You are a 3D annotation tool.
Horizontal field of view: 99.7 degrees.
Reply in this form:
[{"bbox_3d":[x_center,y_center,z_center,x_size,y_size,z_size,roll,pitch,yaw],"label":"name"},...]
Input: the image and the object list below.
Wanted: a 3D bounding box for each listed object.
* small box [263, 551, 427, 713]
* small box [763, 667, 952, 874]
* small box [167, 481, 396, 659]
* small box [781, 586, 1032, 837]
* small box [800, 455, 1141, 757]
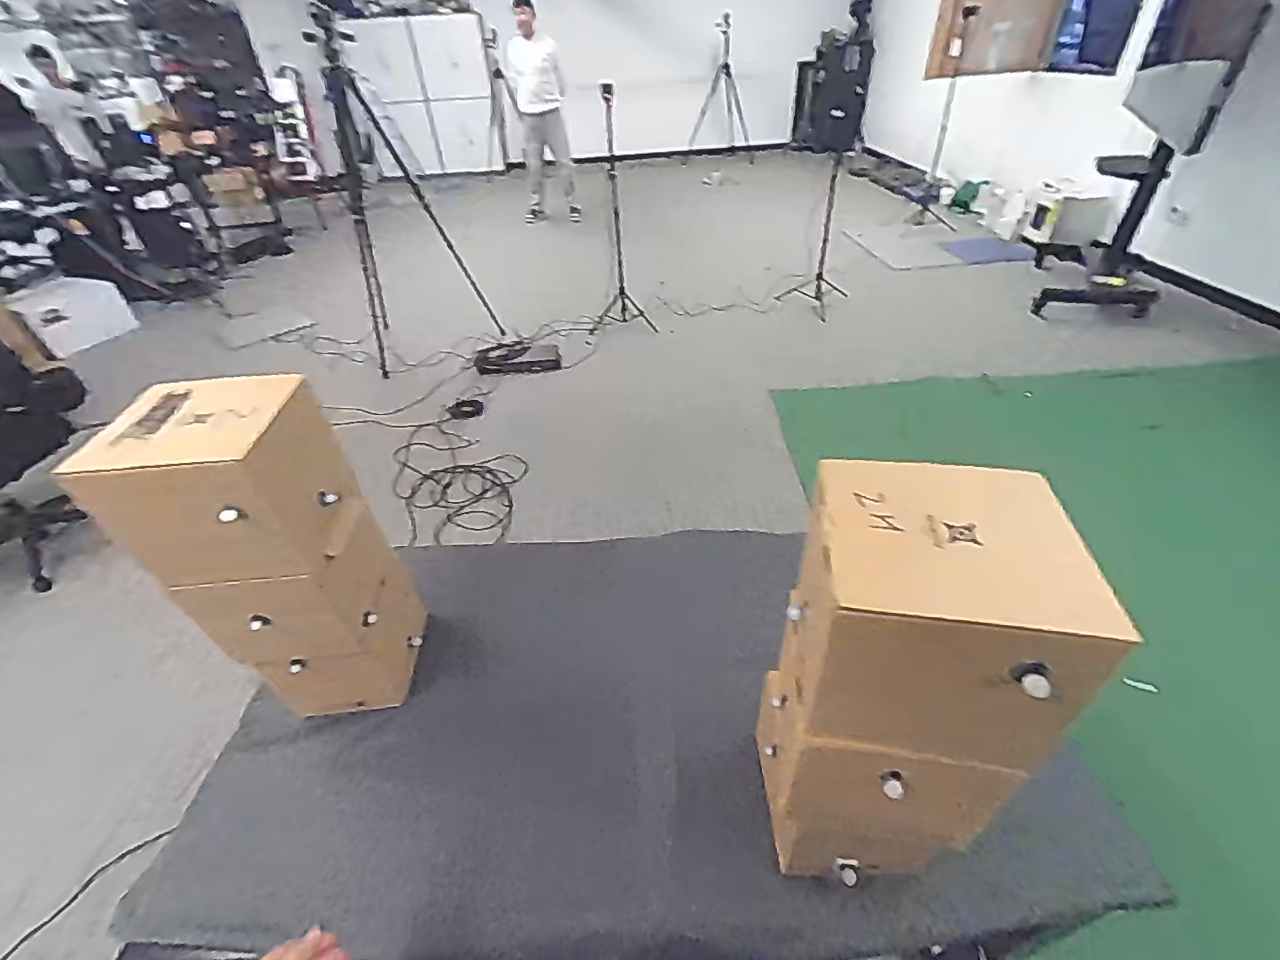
[{"bbox_3d":[-0.451,0.238,0.852,0.168,0.176,0.179,-5,40,-2],"label":"small box"},{"bbox_3d":[0.249,0.346,0.654,0.168,0.176,0.179,-4,39,2],"label":"small box"},{"bbox_3d":[-0.459,0.123,0.733,0.179,0.176,0.168,-6,41,-1],"label":"small box"},{"bbox_3d":[0.239,0.229,0.541,0.179,0.176,0.168,3,39,11],"label":"small box"},{"bbox_3d":[0.231,0.099,0.440,0.179,0.176,0.168,4,39,12],"label":"small box"}]
